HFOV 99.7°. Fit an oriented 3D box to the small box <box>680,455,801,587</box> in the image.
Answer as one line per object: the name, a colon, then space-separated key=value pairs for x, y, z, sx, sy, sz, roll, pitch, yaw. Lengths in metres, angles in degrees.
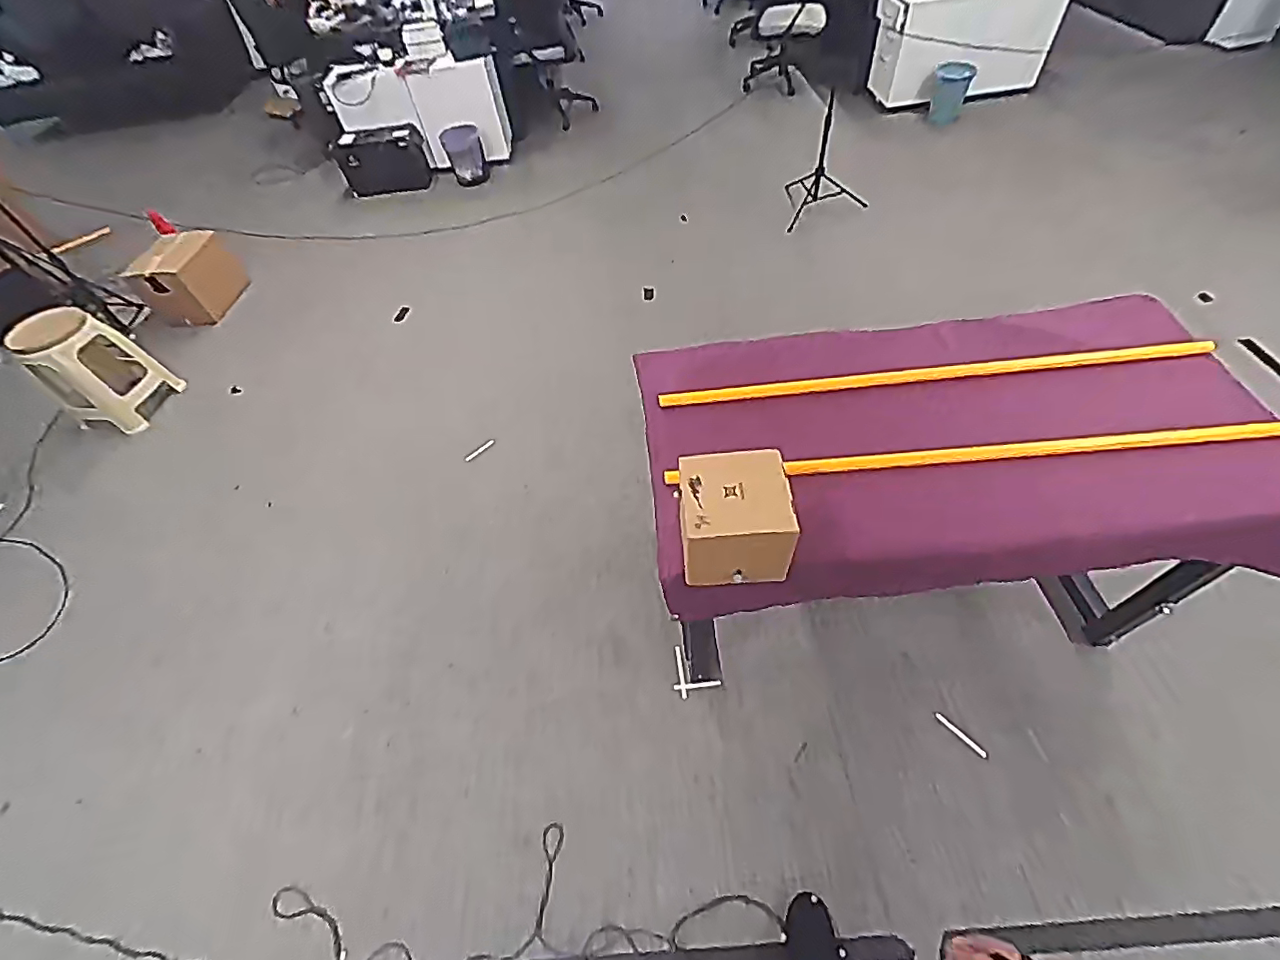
small box: x=0.162 y=0.074 z=0.935 sx=0.179 sy=0.176 sz=0.168 roll=-4 pitch=52 yaw=2
